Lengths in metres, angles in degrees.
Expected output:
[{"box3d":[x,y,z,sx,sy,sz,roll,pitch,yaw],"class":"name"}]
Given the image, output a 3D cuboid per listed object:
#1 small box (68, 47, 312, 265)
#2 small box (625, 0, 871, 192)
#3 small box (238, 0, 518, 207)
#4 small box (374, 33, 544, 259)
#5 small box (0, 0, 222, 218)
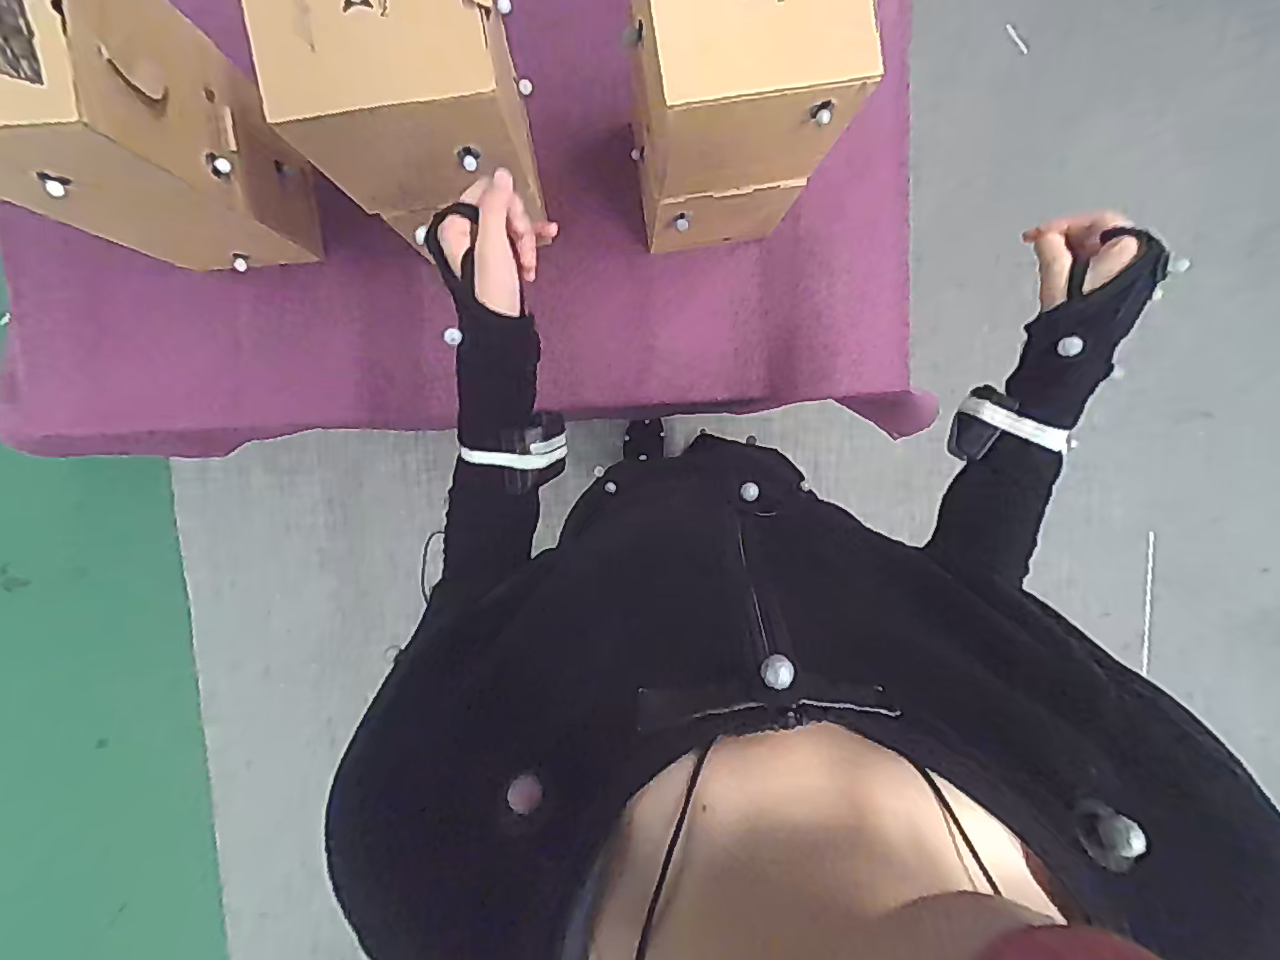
[{"box3d":[-0.516,-0.363,0.635,0.179,0.176,0.168,-5,96,-2],"class":"small box"},{"box3d":[0.081,-0.388,0.493,0.179,0.176,0.168,-9,96,-2],"class":"small box"},{"box3d":[-0.214,-0.368,0.483,0.179,0.176,0.168,-8,95,-1],"class":"small box"},{"box3d":[-0.219,-0.388,0.646,0.168,0.176,0.179,-10,96,-1],"class":"small box"},{"box3d":[-0.509,-0.346,0.471,0.179,0.176,0.168,-5,96,-1],"class":"small box"}]
